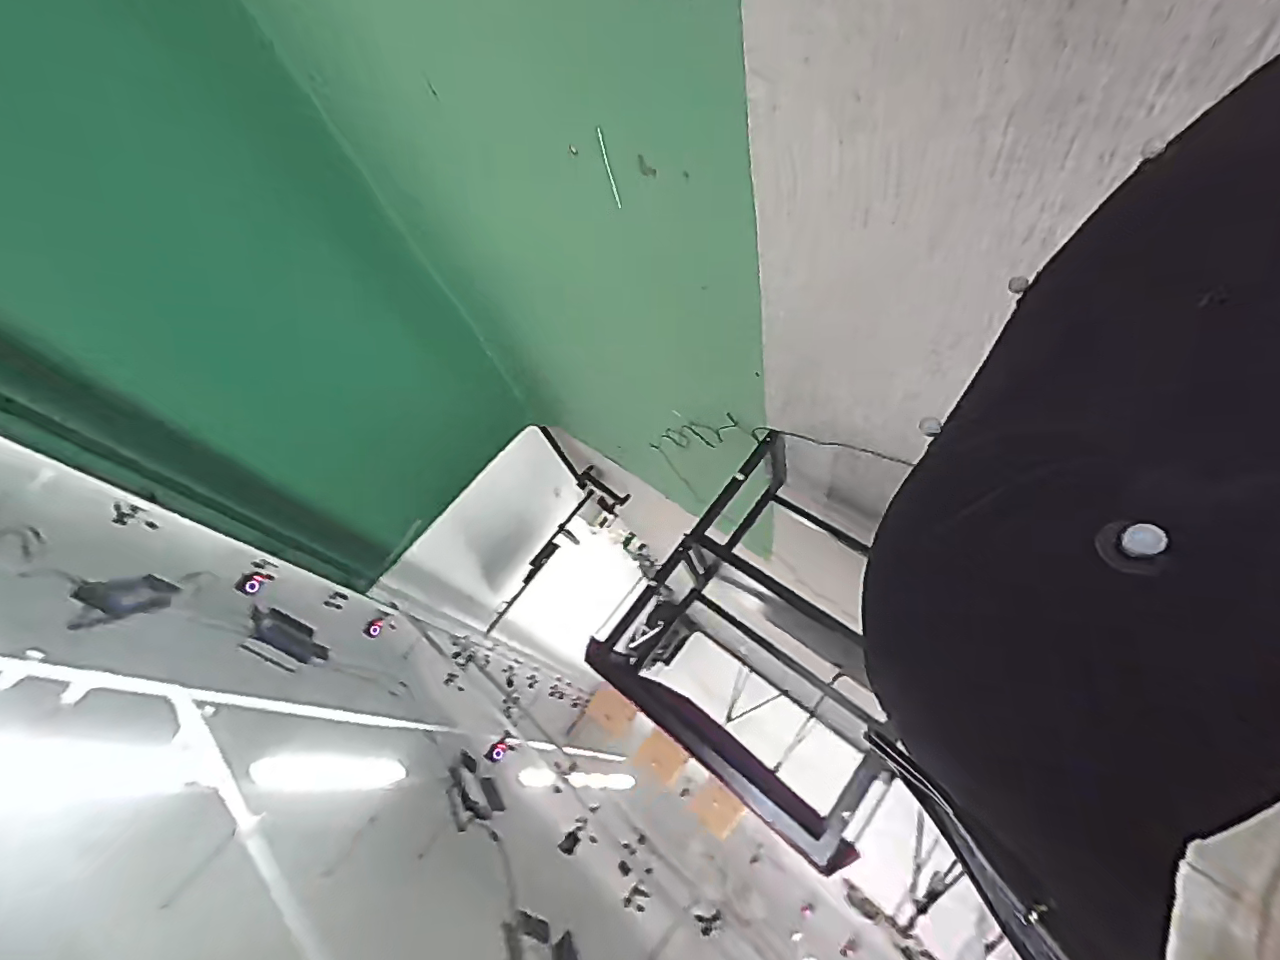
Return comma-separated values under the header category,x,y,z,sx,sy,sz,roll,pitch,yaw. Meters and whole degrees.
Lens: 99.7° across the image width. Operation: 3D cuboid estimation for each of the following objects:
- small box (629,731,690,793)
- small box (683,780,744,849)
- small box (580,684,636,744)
category,x,y,z,sx,sy,sz,roll,pitch,yaw
small box,0.084,1.171,2.256,0.179,0.176,0.168,31,164,28
small box,0.292,1.306,2.121,0.168,0.176,0.179,33,164,29
small box,-0.132,1.034,2.386,0.179,0.176,0.168,33,162,25
